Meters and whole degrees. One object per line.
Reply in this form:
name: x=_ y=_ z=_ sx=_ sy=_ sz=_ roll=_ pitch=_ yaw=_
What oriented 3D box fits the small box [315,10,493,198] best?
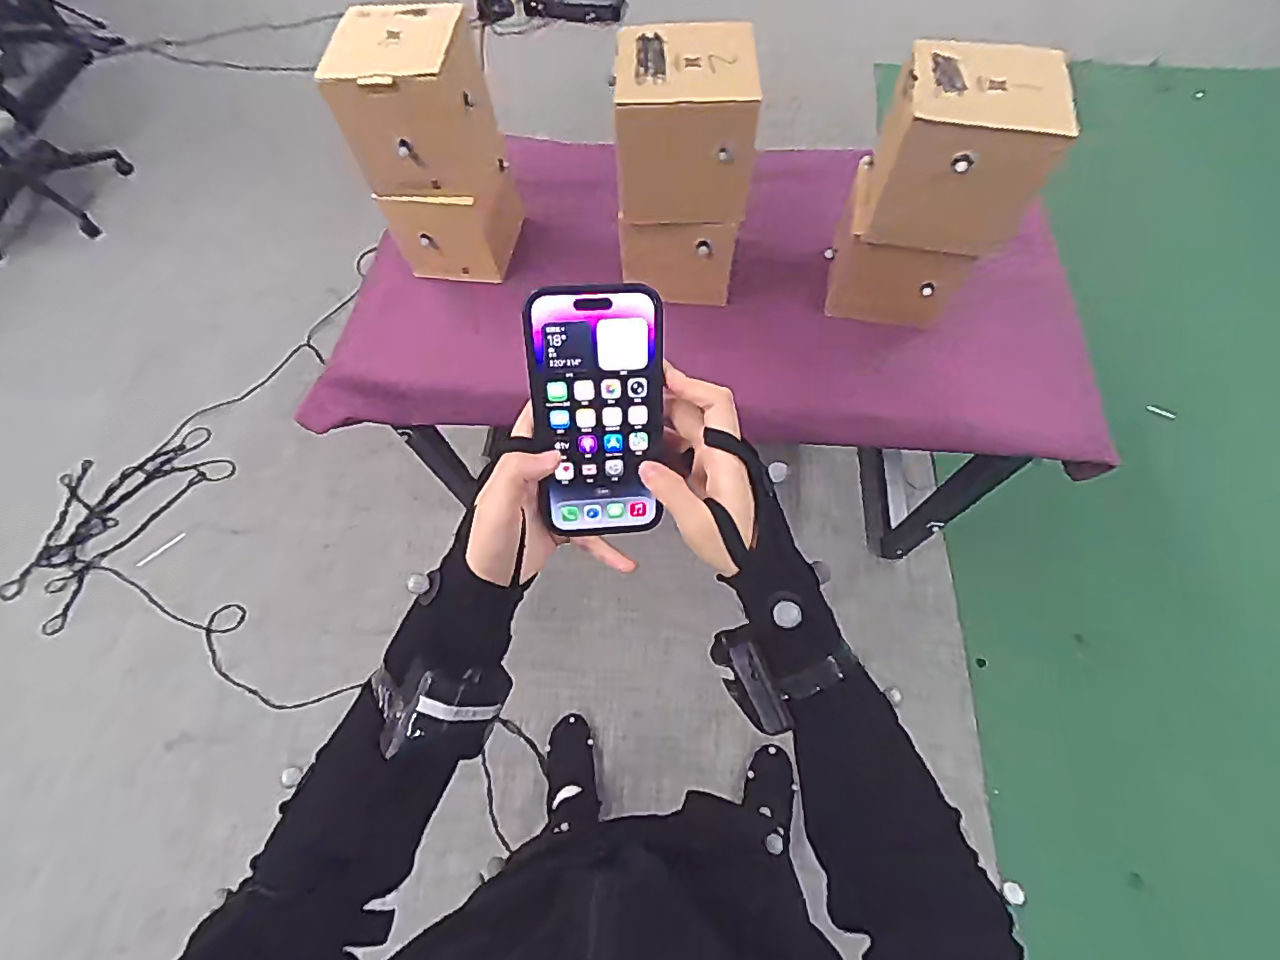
small box: x=-0.328 y=-0.539 z=0.792 sx=0.168 sy=0.176 sz=0.179 roll=1 pitch=65 yaw=3

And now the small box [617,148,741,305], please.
small box: x=0.065 y=-0.409 z=0.886 sx=0.179 sy=0.176 sz=0.168 roll=5 pitch=65 yaw=6

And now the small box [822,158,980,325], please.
small box: x=0.401 y=-0.366 z=0.847 sx=0.179 sy=0.176 sz=0.168 roll=11 pitch=65 yaw=9

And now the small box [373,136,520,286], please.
small box: x=-0.319 y=-0.461 z=0.936 sx=0.168 sy=0.176 sz=0.179 roll=6 pitch=65 yaw=6

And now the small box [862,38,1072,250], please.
small box: x=0.398 y=-0.422 z=0.693 sx=0.179 sy=0.176 sz=0.168 roll=11 pitch=65 yaw=8
